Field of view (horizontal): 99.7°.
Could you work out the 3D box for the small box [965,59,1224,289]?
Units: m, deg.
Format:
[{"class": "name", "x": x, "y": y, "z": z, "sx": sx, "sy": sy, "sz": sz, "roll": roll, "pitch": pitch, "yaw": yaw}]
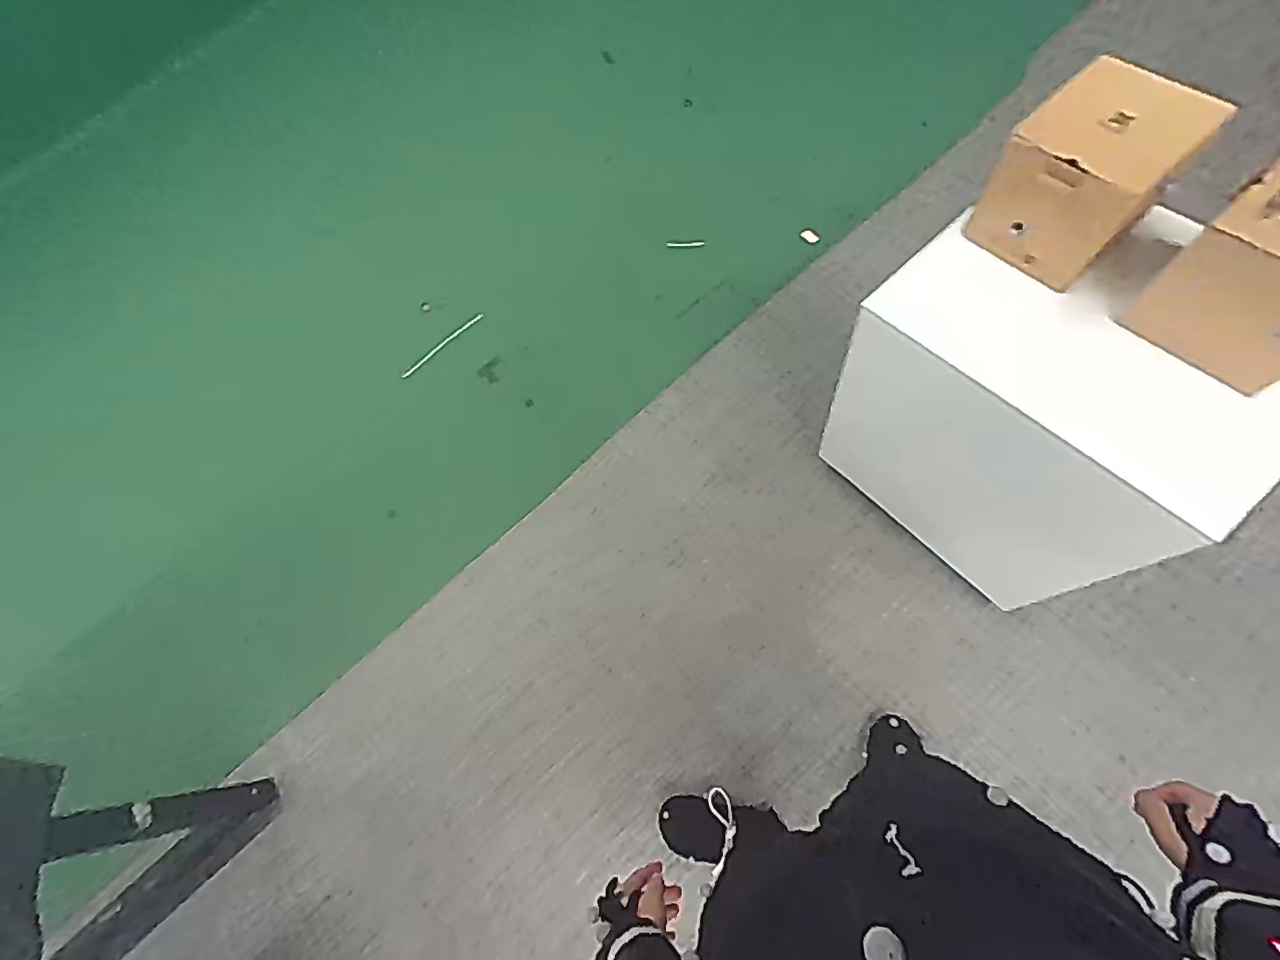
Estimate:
[{"class": "small box", "x": 0.583, "y": -0.400, "z": 0.726, "sx": 0.179, "sy": 0.176, "sz": 0.168, "roll": -41, "pitch": 68, "yaw": -6}]
